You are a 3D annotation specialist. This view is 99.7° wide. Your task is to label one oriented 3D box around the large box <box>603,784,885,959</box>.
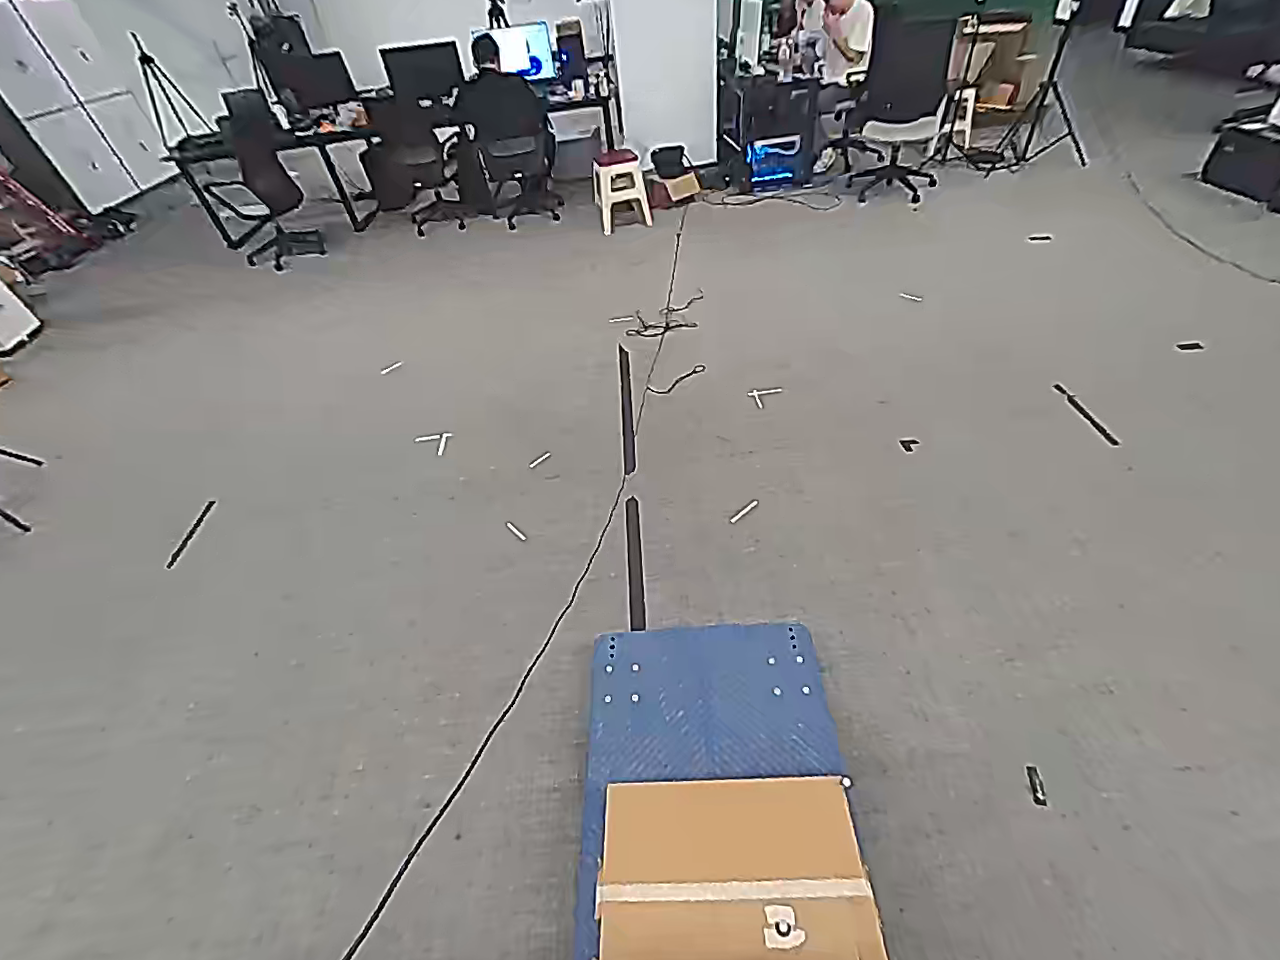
[{"bbox_3d":[0.156,0.742,0.911,0.408,0.320,0.320,-4,43,4],"label":"large box"}]
